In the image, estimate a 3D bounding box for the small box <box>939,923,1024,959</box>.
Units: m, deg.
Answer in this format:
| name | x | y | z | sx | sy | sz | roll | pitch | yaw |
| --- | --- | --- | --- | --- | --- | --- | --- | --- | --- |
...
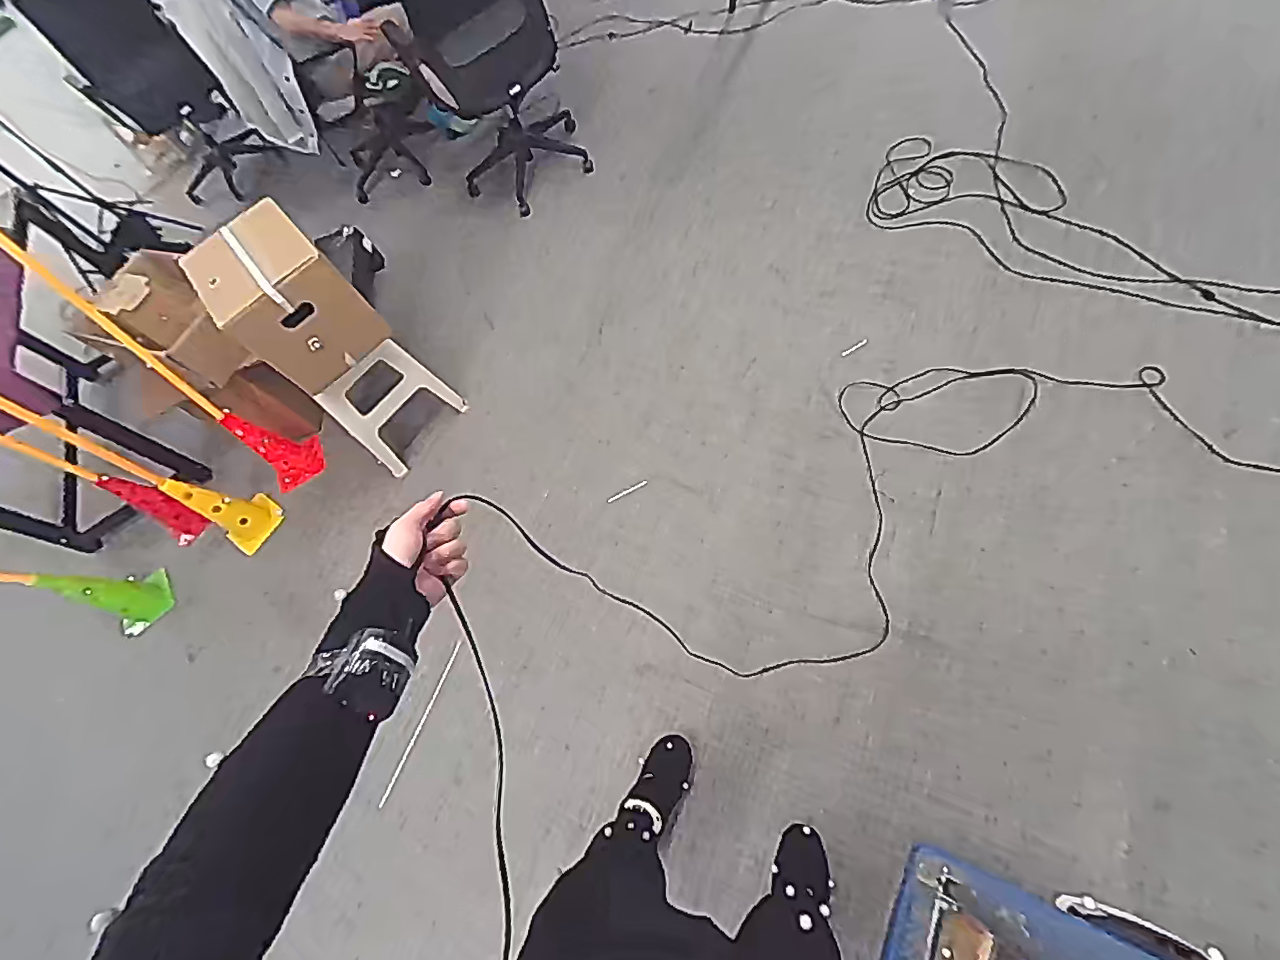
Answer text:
| name | x | y | z | sx | sy | sz | roll | pitch | yaw |
| --- | --- | --- | --- | --- | --- | --- | --- | --- | --- |
| small box | 0.592 | 0.868 | 0.872 | 0.179 | 0.176 | 0.168 | 23 | 72 | 24 |
